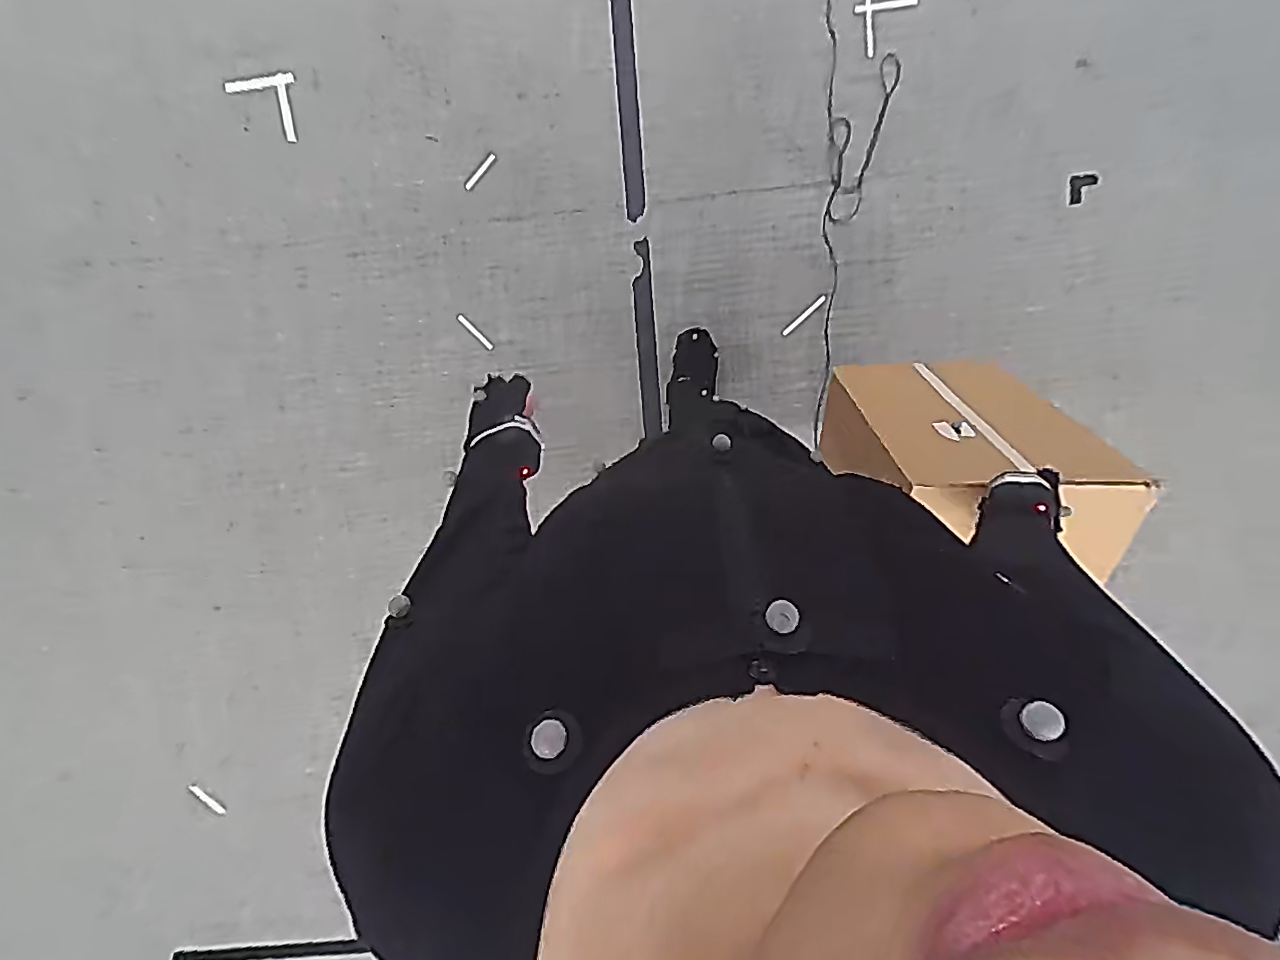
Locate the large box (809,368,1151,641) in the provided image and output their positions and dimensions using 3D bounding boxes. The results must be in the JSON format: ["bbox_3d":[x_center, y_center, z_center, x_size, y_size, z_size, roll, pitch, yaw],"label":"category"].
[{"bbox_3d":[0.518,0.024,0.951,0.320,0.408,0.320,-1,124,2],"label":"large box"}]
